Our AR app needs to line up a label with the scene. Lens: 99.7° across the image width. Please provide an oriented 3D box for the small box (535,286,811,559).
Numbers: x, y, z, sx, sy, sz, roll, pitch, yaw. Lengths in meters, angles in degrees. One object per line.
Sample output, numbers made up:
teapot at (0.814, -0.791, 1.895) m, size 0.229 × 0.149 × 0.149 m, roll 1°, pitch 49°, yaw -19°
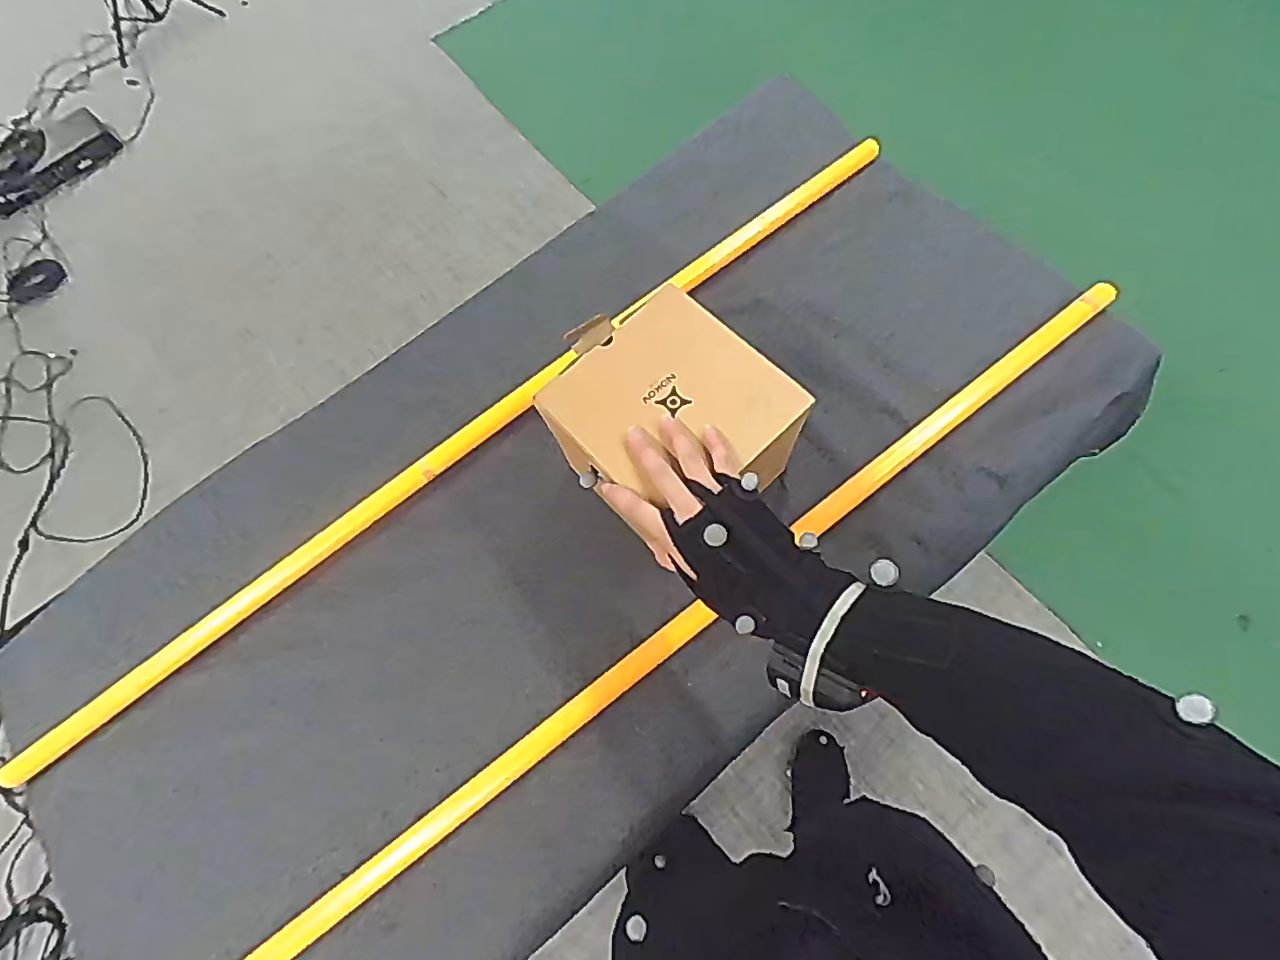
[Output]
small box at (0.033, -0.040, 0.526) m, size 0.168 × 0.176 × 0.179 m, roll -43°, pitch 71°, yaw -9°
